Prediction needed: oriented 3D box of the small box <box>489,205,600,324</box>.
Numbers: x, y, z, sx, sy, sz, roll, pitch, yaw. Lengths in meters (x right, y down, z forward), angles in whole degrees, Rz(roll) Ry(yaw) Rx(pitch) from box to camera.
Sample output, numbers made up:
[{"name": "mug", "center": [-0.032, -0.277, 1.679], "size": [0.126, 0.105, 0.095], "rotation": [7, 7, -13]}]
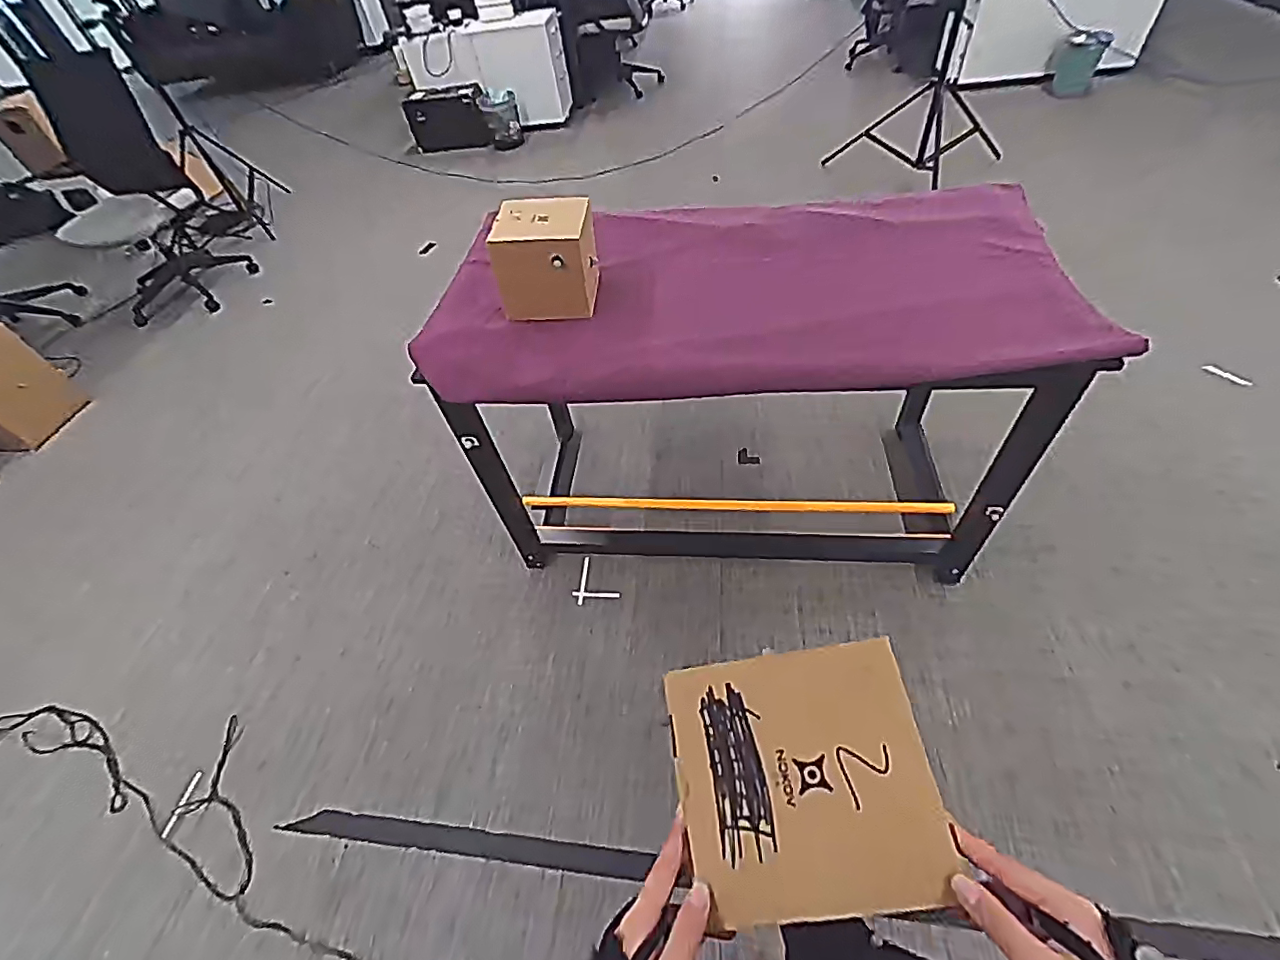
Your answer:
[{"name": "small box", "center": [-0.180, -0.429, 1.087], "size": [0.179, 0.176, 0.168], "rotation": [0, 50, 5]}]
